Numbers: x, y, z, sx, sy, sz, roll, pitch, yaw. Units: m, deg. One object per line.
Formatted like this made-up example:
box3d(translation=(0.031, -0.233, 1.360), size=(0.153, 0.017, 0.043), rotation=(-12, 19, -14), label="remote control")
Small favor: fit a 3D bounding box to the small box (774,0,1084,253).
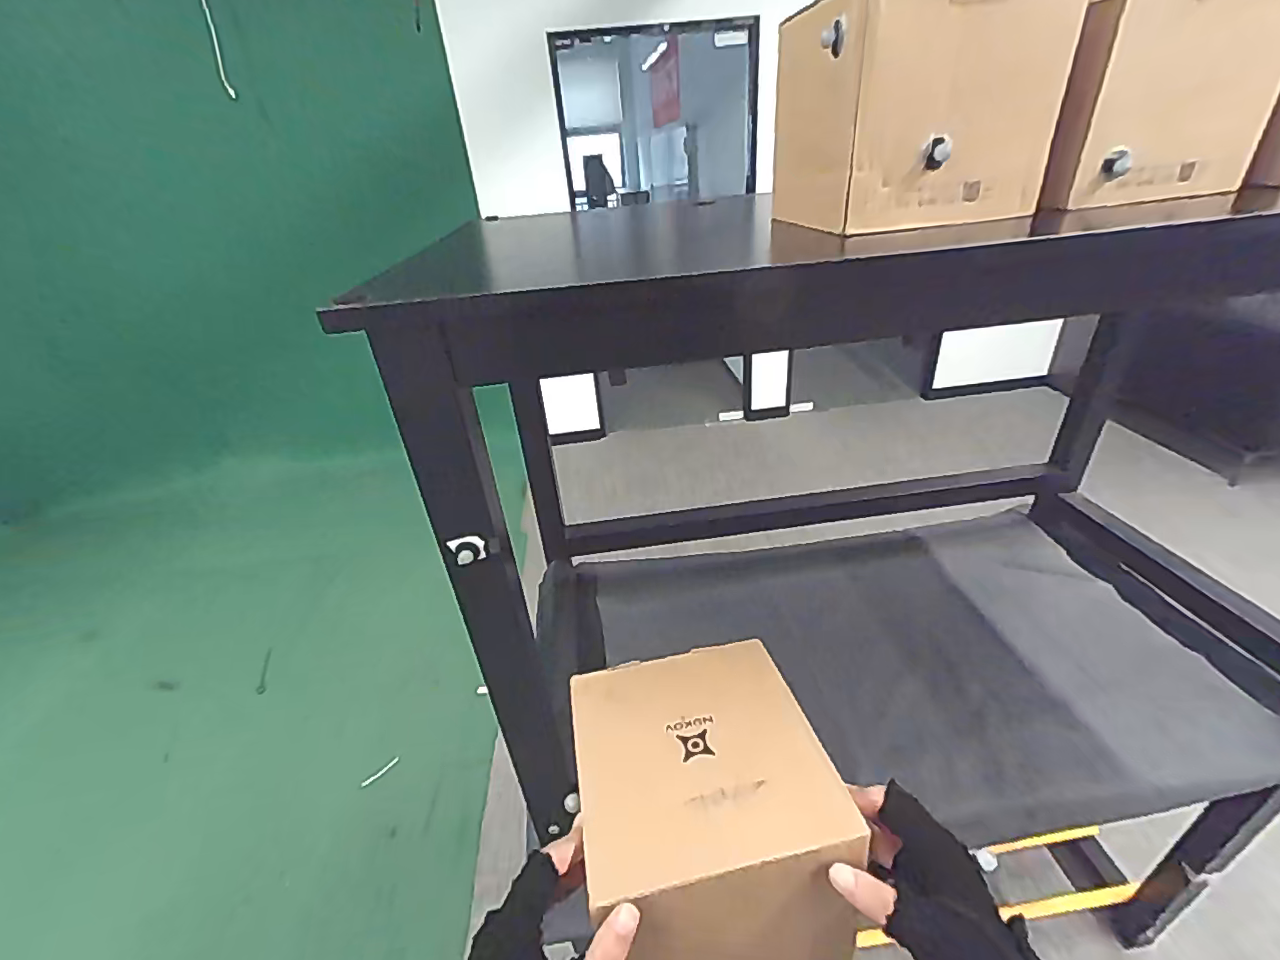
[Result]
box3d(translation=(0.228, -0.306, 0.485), size=(0.168, 0.176, 0.179), rotation=(-8, 31, -5), label="small box")
